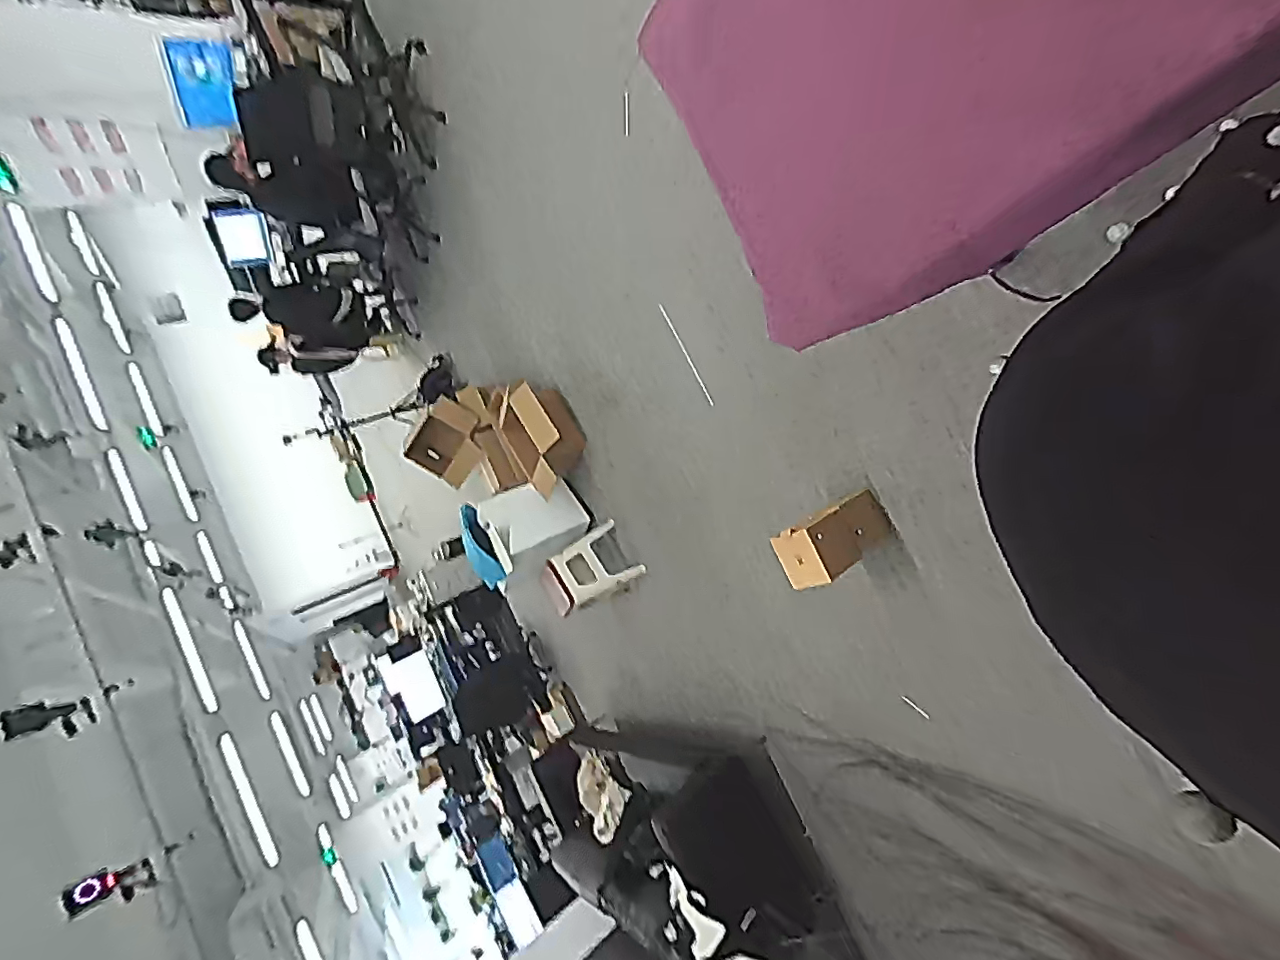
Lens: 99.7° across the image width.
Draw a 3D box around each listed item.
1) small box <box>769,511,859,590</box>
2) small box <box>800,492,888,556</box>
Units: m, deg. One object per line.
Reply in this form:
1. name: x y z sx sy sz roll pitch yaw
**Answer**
1. small box: 0.548 0.221 1.693 0.168 0.176 0.179 -35 79 57
2. small box: 0.671 0.157 1.779 0.168 0.176 0.179 64 148 6
